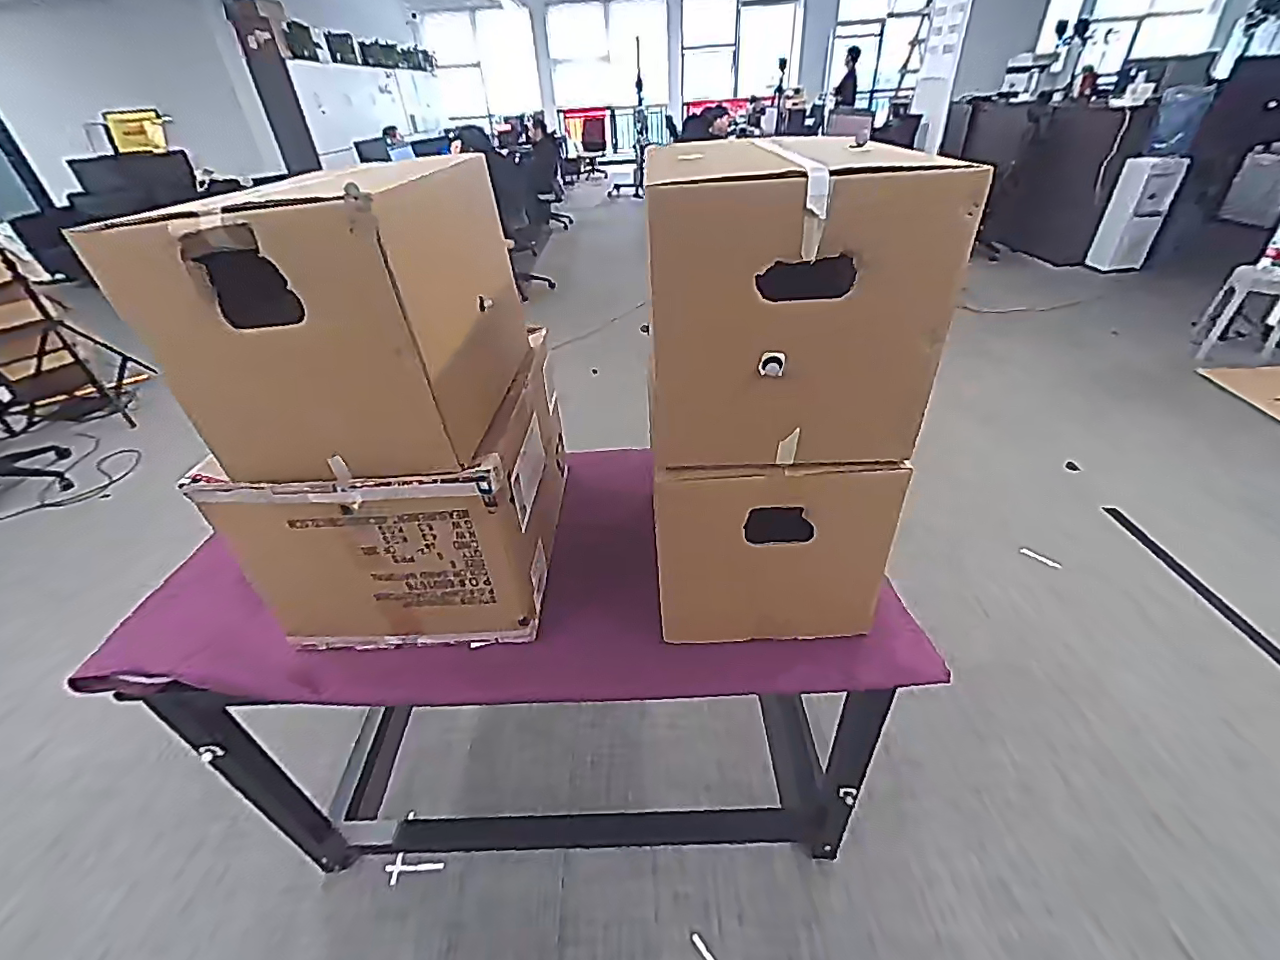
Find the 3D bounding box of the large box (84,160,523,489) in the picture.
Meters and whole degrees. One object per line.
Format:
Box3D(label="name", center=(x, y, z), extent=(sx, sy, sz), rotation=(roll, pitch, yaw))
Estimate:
Box3D(label="large box", center=(-0.377, -0.235, 0.761), extent=(0.320, 0.320, 0.408), rotation=(-6, 36, 5))
